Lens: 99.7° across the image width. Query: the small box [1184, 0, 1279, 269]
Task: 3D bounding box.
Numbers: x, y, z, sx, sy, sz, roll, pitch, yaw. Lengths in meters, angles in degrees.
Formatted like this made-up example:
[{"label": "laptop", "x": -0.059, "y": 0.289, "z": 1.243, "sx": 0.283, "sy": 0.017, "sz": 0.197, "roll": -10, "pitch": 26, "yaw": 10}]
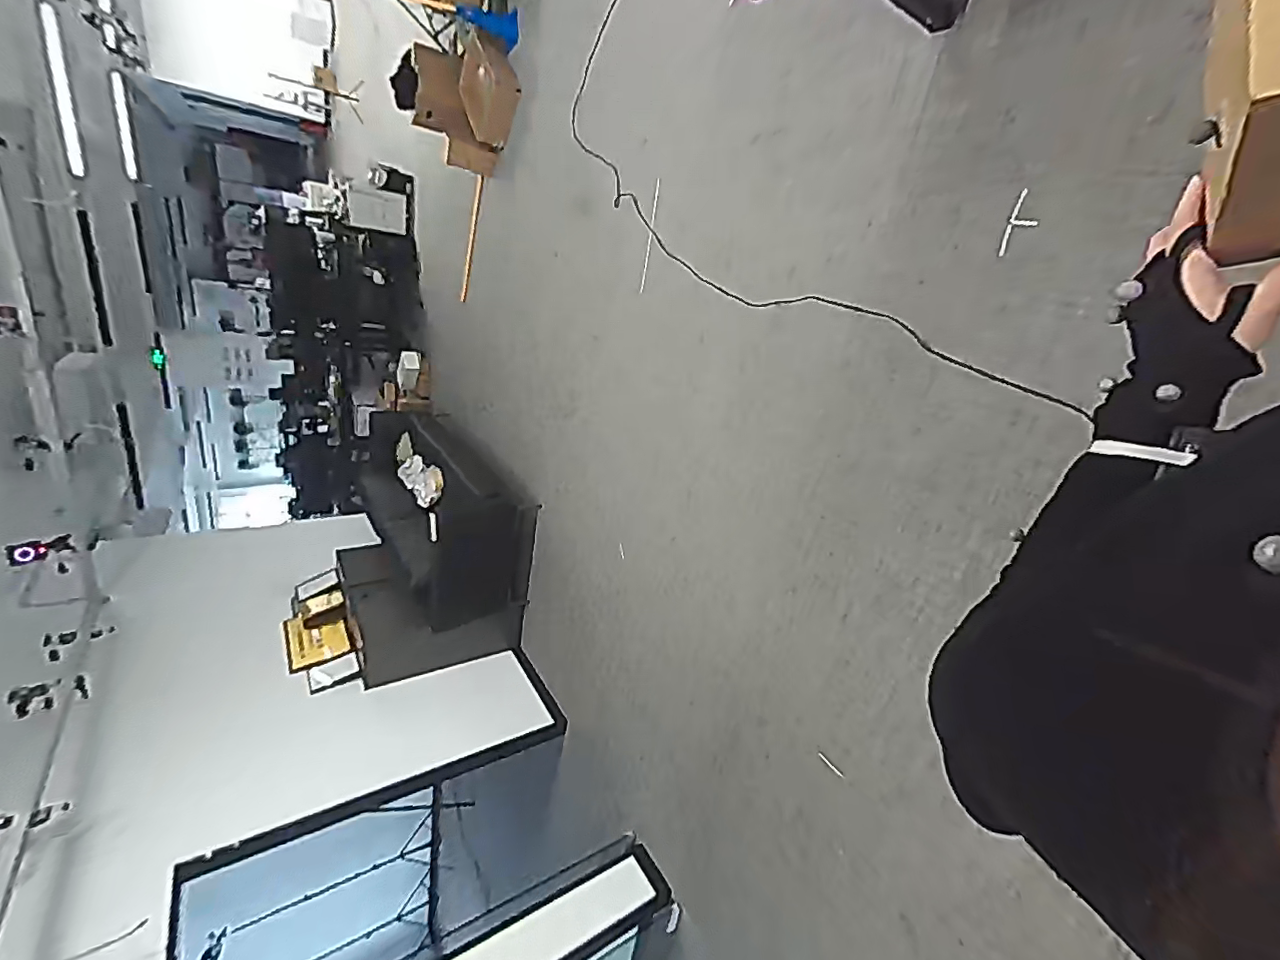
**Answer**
[{"label": "small box", "x": 0.412, "y": -0.244, "z": 0.282, "sx": 0.168, "sy": 0.179, "sz": 0.176, "roll": 3, "pitch": 82, "yaw": 40}]
